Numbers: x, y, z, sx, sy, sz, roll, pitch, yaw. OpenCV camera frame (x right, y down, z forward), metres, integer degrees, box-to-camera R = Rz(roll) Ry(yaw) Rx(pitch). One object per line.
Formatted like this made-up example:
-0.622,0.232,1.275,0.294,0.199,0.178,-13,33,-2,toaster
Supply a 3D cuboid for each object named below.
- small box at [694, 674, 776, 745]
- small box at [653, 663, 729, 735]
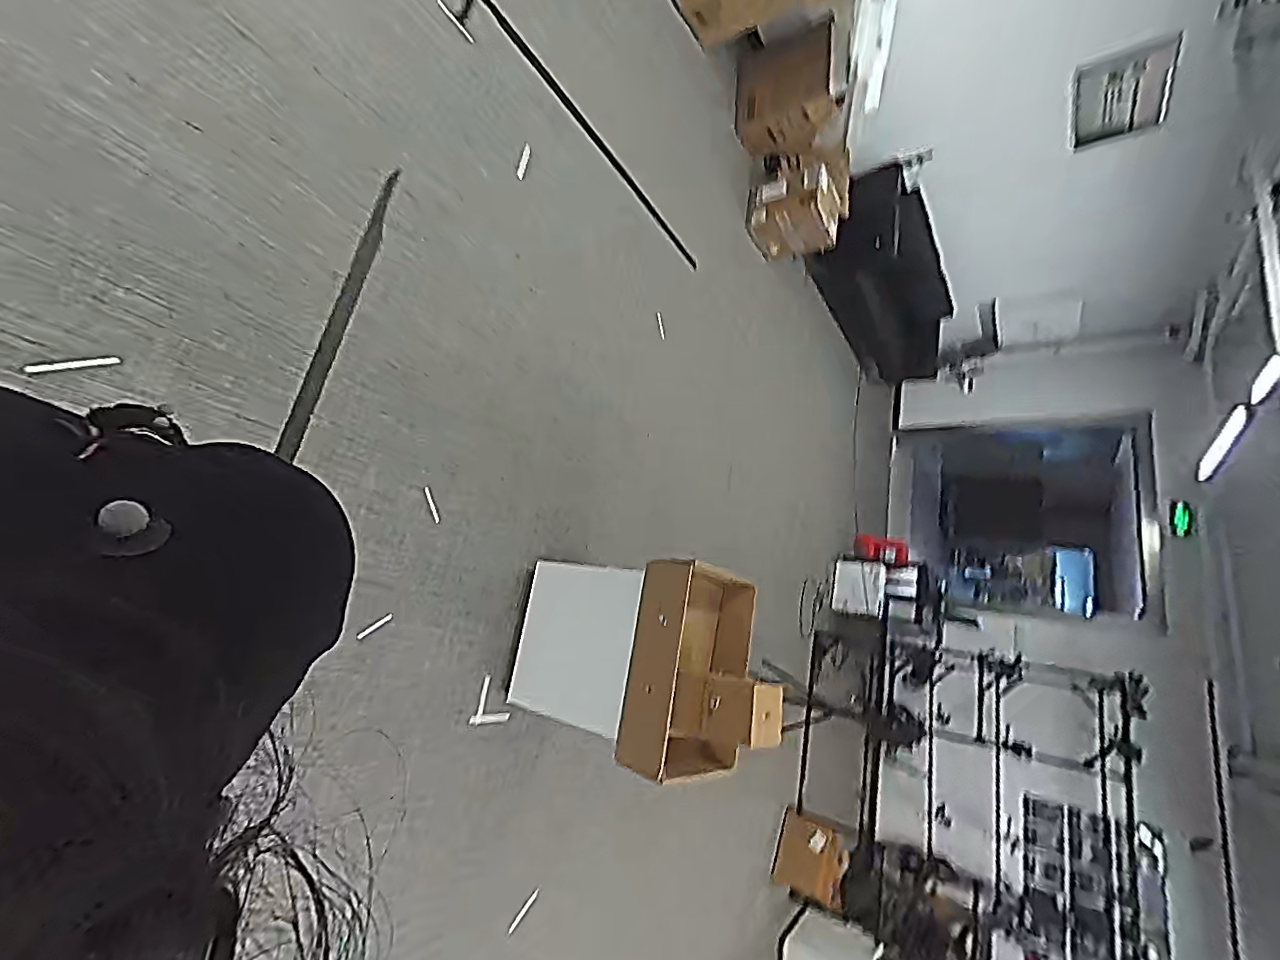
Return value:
0.280,0.666,1.582,0.179,0.176,0.168,25,65,-45,small box
0.160,0.683,1.692,0.168,0.176,0.179,26,67,-46,small box
